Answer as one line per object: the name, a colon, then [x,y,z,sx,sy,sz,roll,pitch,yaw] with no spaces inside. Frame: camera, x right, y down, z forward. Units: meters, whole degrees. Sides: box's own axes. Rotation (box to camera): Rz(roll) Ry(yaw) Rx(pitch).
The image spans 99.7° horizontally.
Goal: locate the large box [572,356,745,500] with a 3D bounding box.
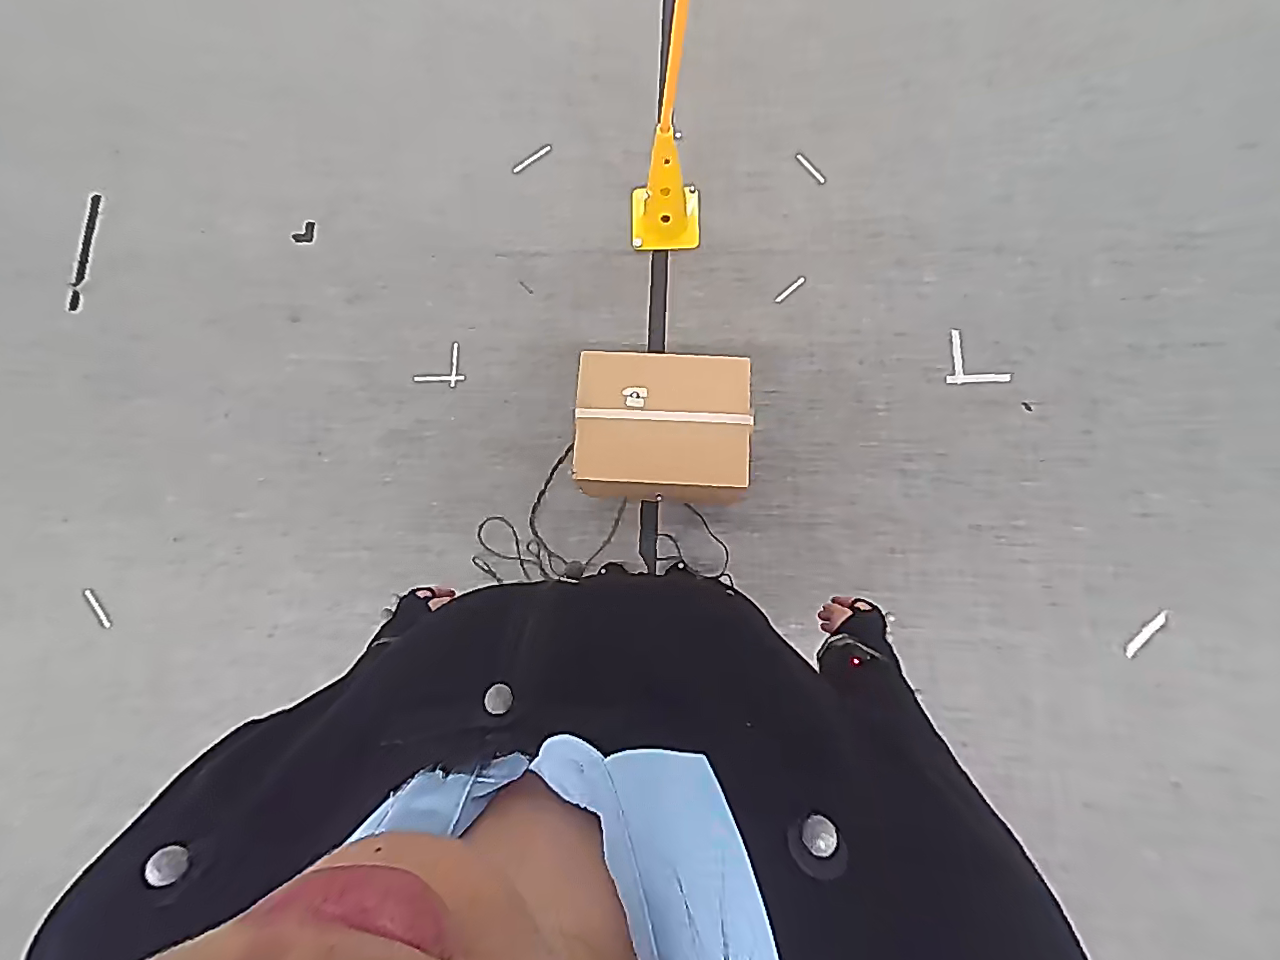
large box: [0.053,-0.119,1.408,0.408,0.320,0.320,2,79,3]
